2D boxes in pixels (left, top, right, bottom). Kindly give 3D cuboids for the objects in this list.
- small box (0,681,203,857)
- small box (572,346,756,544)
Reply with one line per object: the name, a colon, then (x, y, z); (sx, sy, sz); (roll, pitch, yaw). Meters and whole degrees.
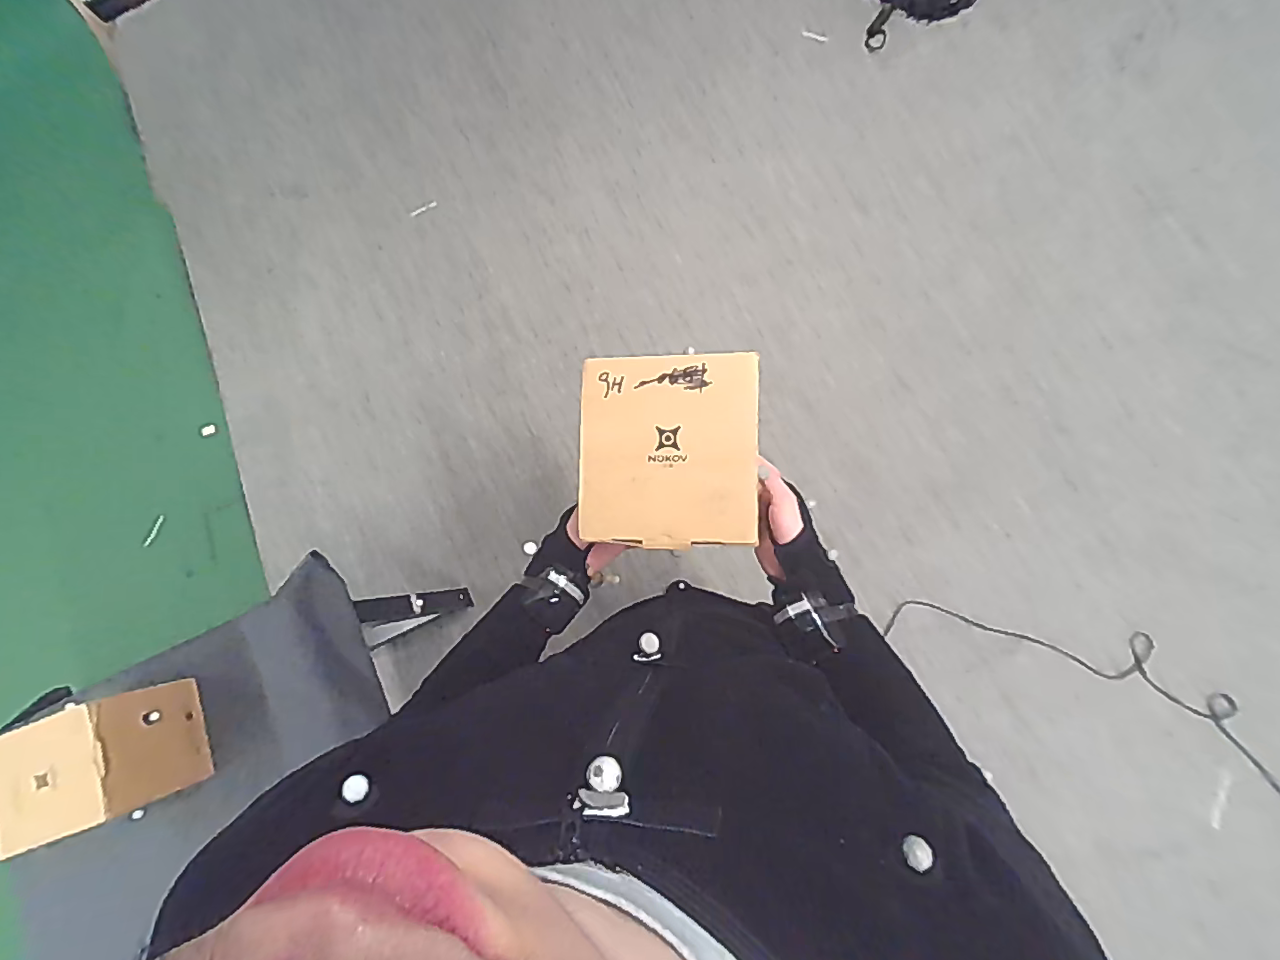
small box: (-0.814, 0.425, 0.825); (0.179, 0.176, 0.168); (-22, 77, 4)
small box: (0.034, -0.027, 0.562); (0.168, 0.176, 0.179); (1, 86, 10)
